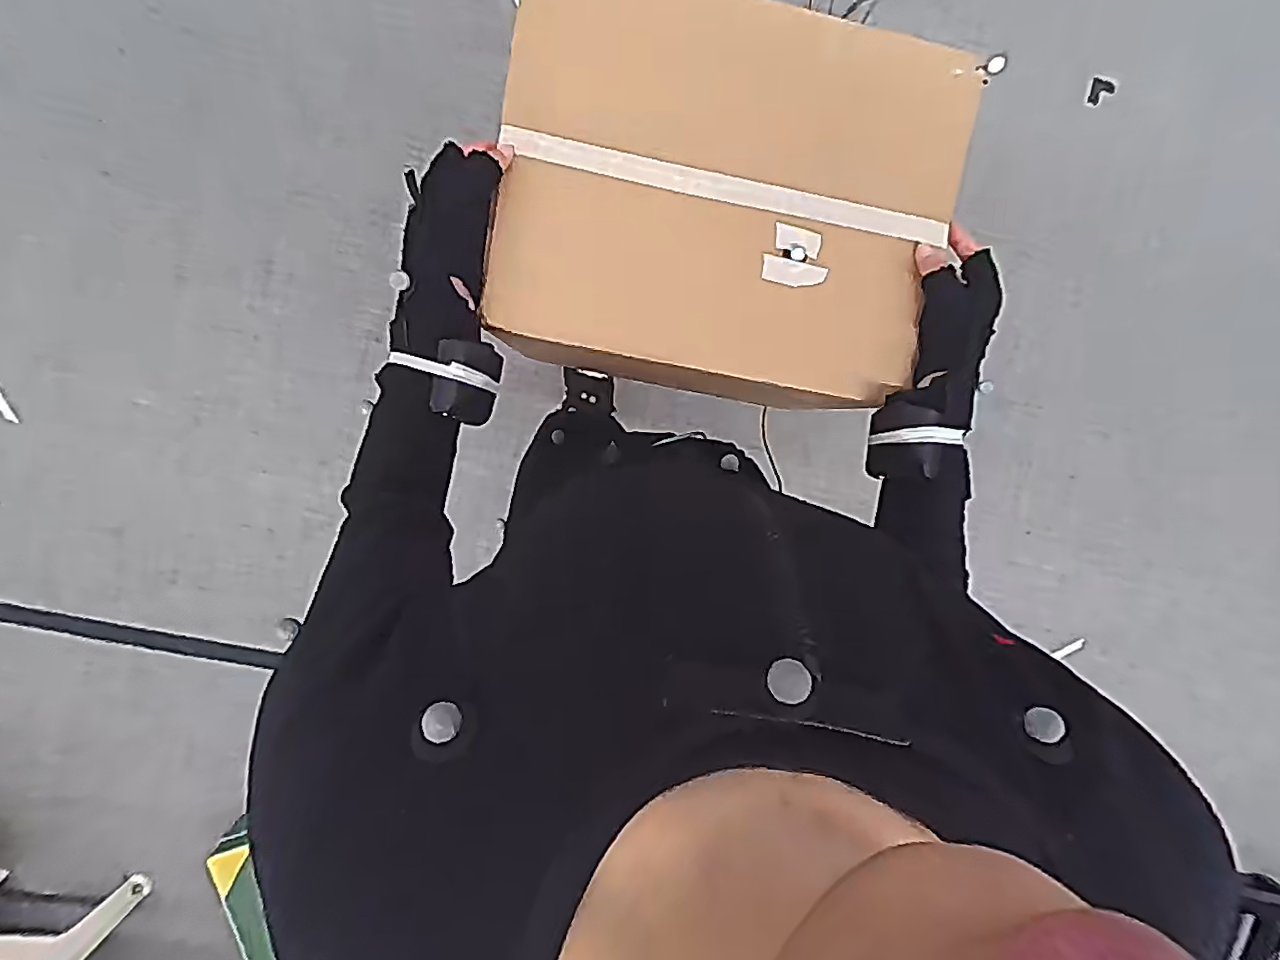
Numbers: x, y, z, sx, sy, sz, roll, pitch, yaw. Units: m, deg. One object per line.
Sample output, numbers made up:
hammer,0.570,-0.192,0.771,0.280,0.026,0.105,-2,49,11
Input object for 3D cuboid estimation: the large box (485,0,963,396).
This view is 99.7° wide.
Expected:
large box,0.064,-0.286,0.638,0.408,0.320,0.320,10,98,-6
